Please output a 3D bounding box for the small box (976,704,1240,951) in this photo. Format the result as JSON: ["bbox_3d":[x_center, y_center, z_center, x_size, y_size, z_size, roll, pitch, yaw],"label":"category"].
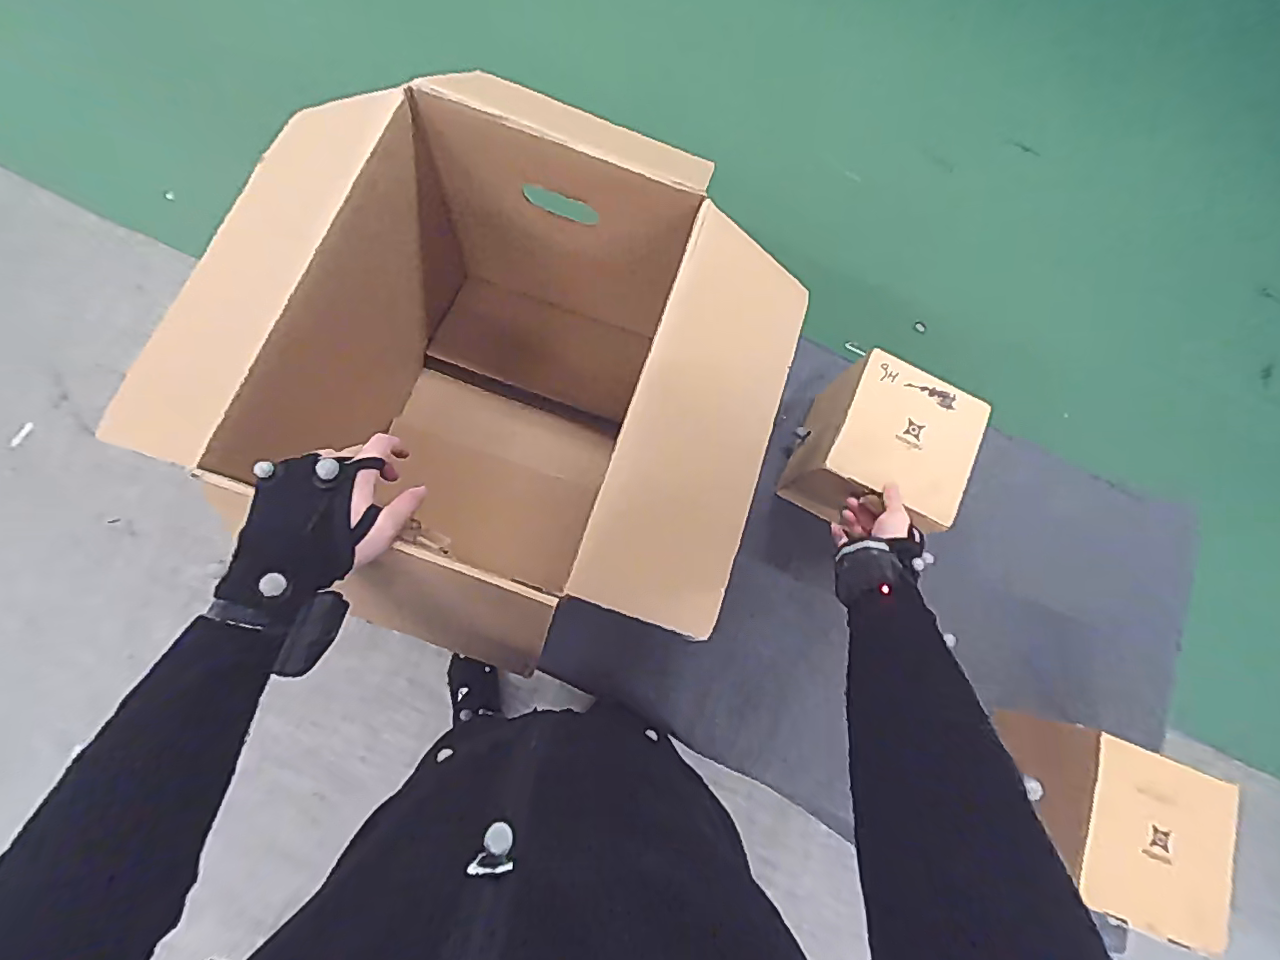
[{"bbox_3d":[0.547,0.397,0.654,0.168,0.176,0.179,22,75,0],"label":"small box"}]
